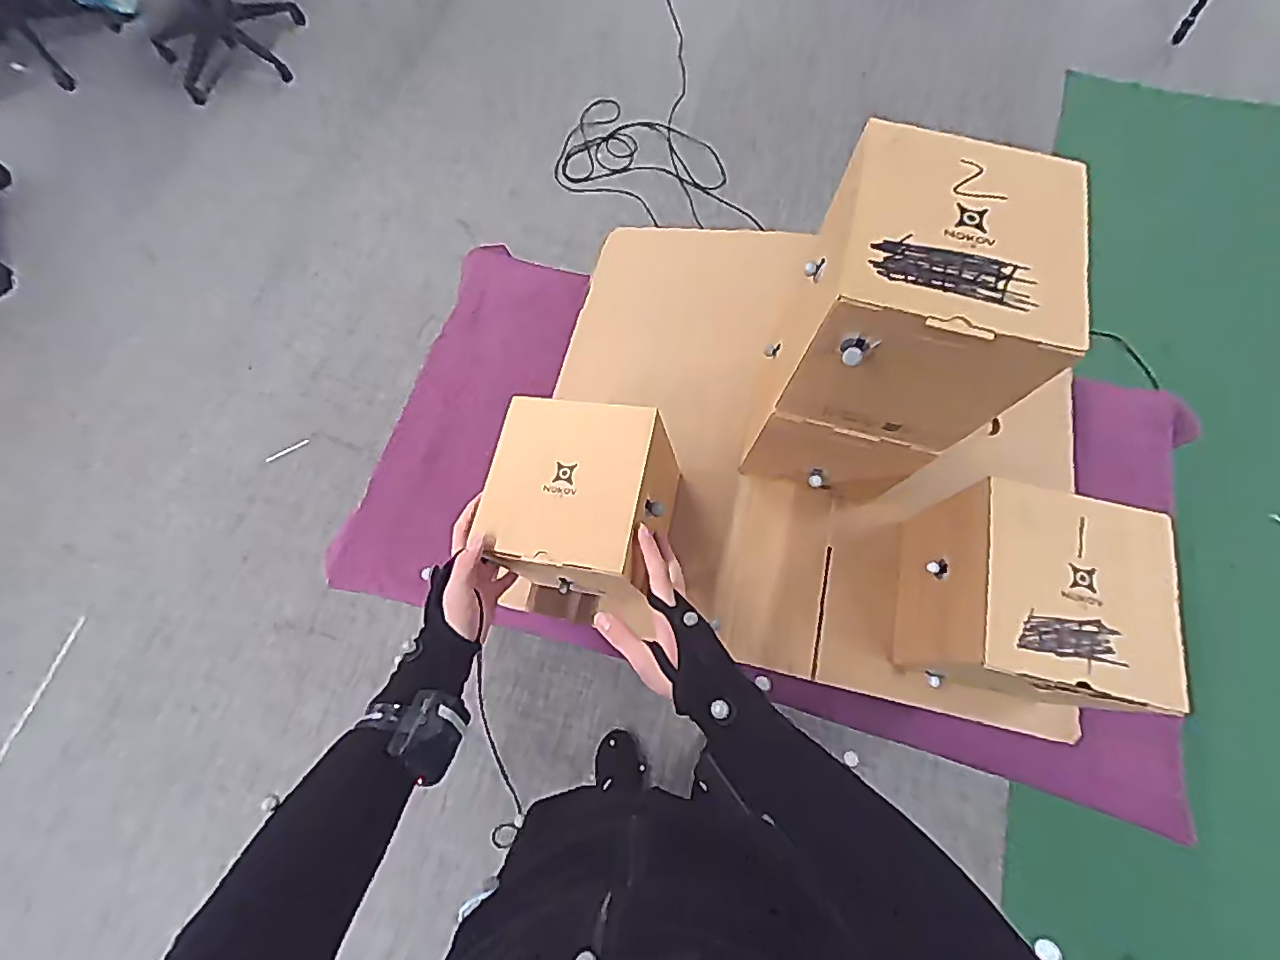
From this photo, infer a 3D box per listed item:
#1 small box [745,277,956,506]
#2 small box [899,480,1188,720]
[{"bbox_3d":[0.226,-0.090,0.614,0.168,0.176,0.179,14,71,4],"label":"small box"},{"bbox_3d":[0.382,0.123,0.544,0.168,0.176,0.179,13,70,3],"label":"small box"}]
